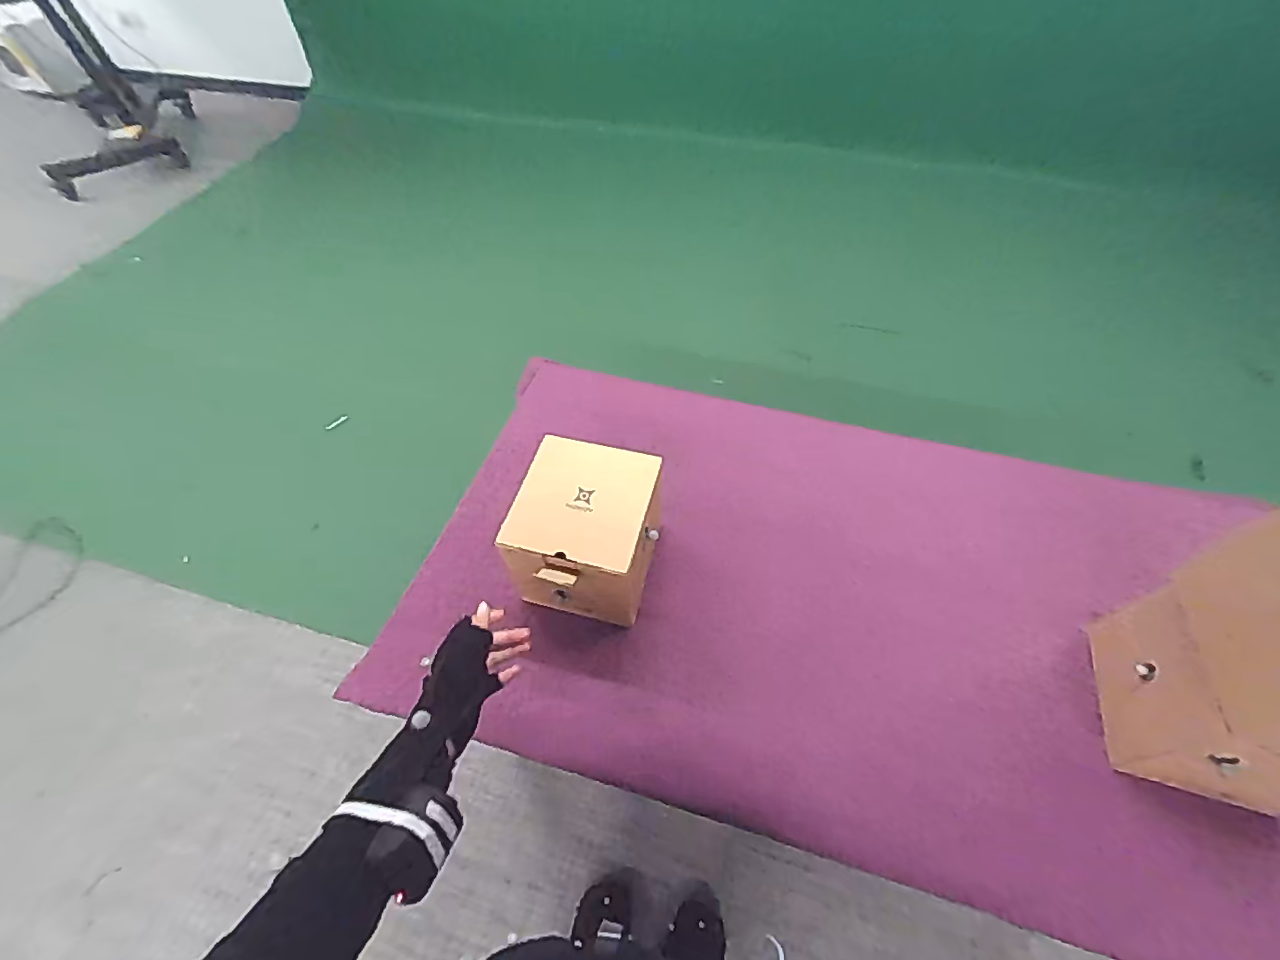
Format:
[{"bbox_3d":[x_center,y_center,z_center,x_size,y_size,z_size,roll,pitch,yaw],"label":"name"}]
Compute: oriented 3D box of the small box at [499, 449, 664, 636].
[{"bbox_3d":[-0.069,0.088,0.741,0.168,0.176,0.179,12,57,9],"label":"small box"}]
